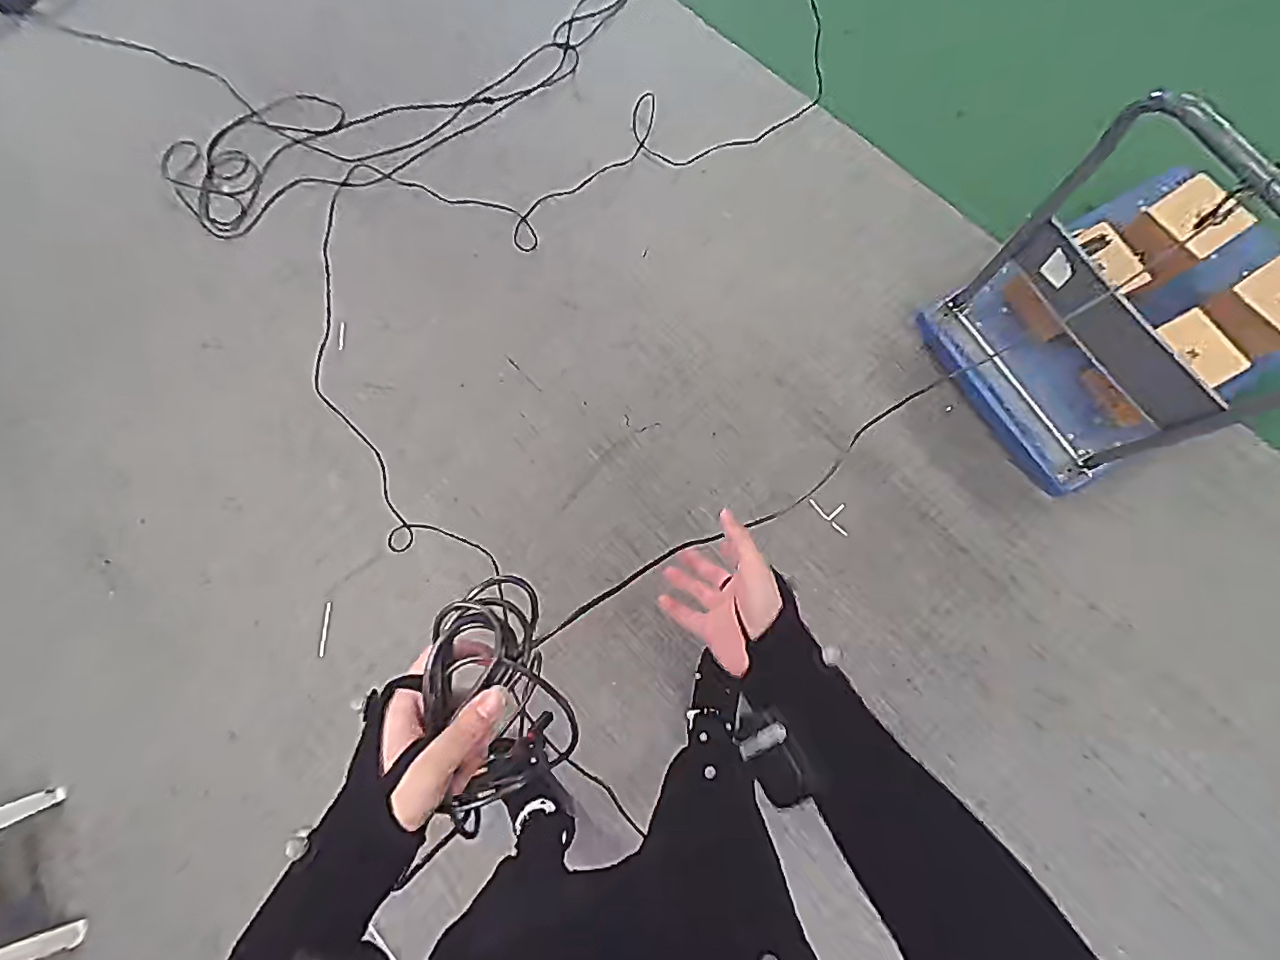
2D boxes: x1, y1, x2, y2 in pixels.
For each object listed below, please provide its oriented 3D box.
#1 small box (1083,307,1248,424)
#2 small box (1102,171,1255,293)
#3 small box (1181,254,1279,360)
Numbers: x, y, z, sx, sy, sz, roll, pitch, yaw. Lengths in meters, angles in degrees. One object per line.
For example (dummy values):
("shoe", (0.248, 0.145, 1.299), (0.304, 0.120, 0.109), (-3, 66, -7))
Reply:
("small box", (1.192, -0.256, 1.244), (0.179, 0.176, 0.168), (-29, 77, -3))
("small box", (1.288, -0.592, 1.315), (0.179, 0.176, 0.168), (-33, 78, -4))
("small box", (1.427, -0.391, 1.257), (0.179, 0.176, 0.168), (-33, 76, -3))
